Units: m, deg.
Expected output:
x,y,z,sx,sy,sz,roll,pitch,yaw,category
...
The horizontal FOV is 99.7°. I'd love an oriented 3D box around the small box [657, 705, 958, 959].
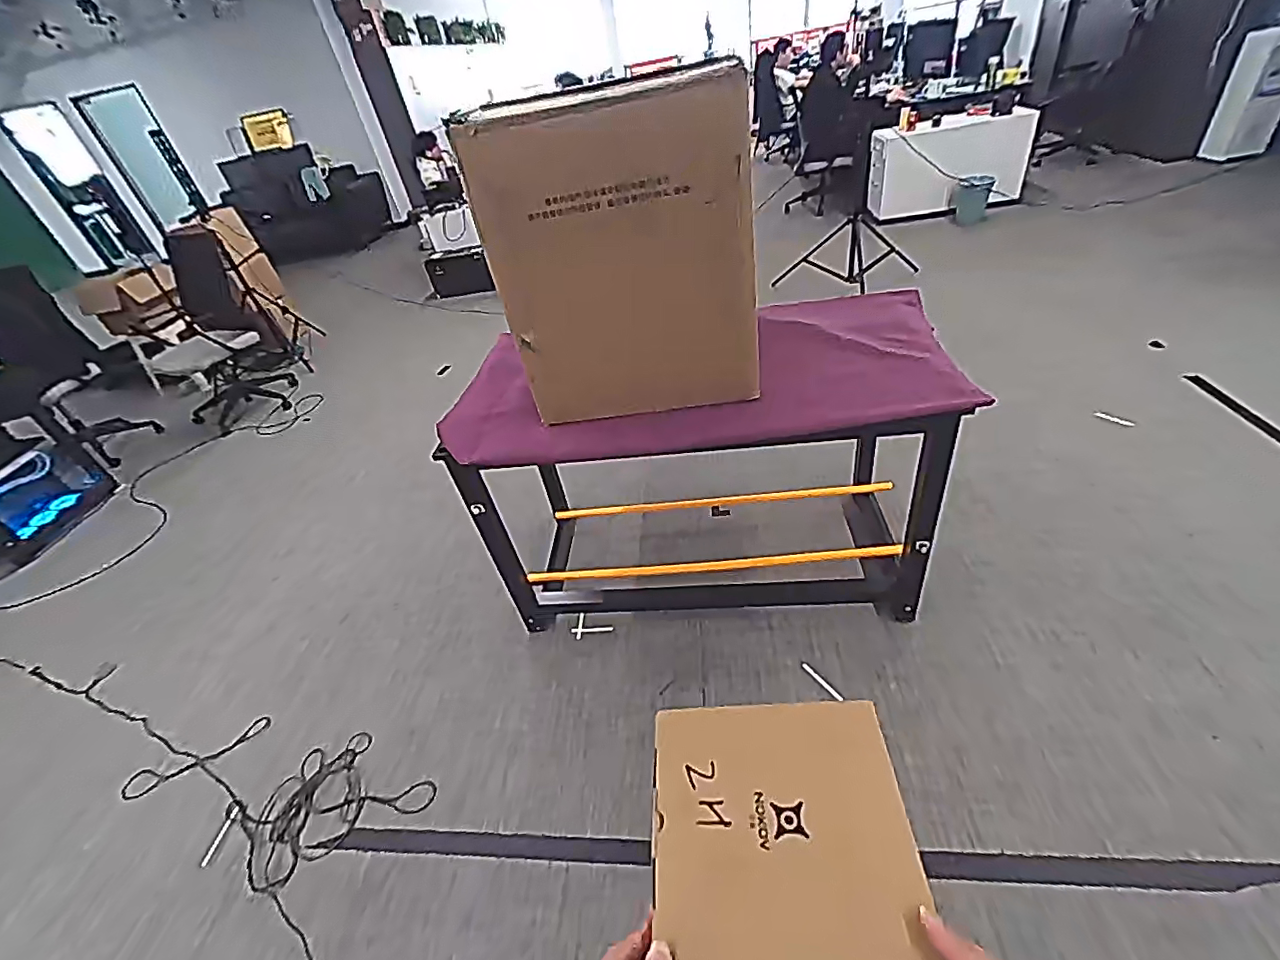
x,y,z,sx,sy,sz,roll,pitch,yaw,category
0.112,0.297,0.423,0.179,0.176,0.168,-6,38,8,small box
